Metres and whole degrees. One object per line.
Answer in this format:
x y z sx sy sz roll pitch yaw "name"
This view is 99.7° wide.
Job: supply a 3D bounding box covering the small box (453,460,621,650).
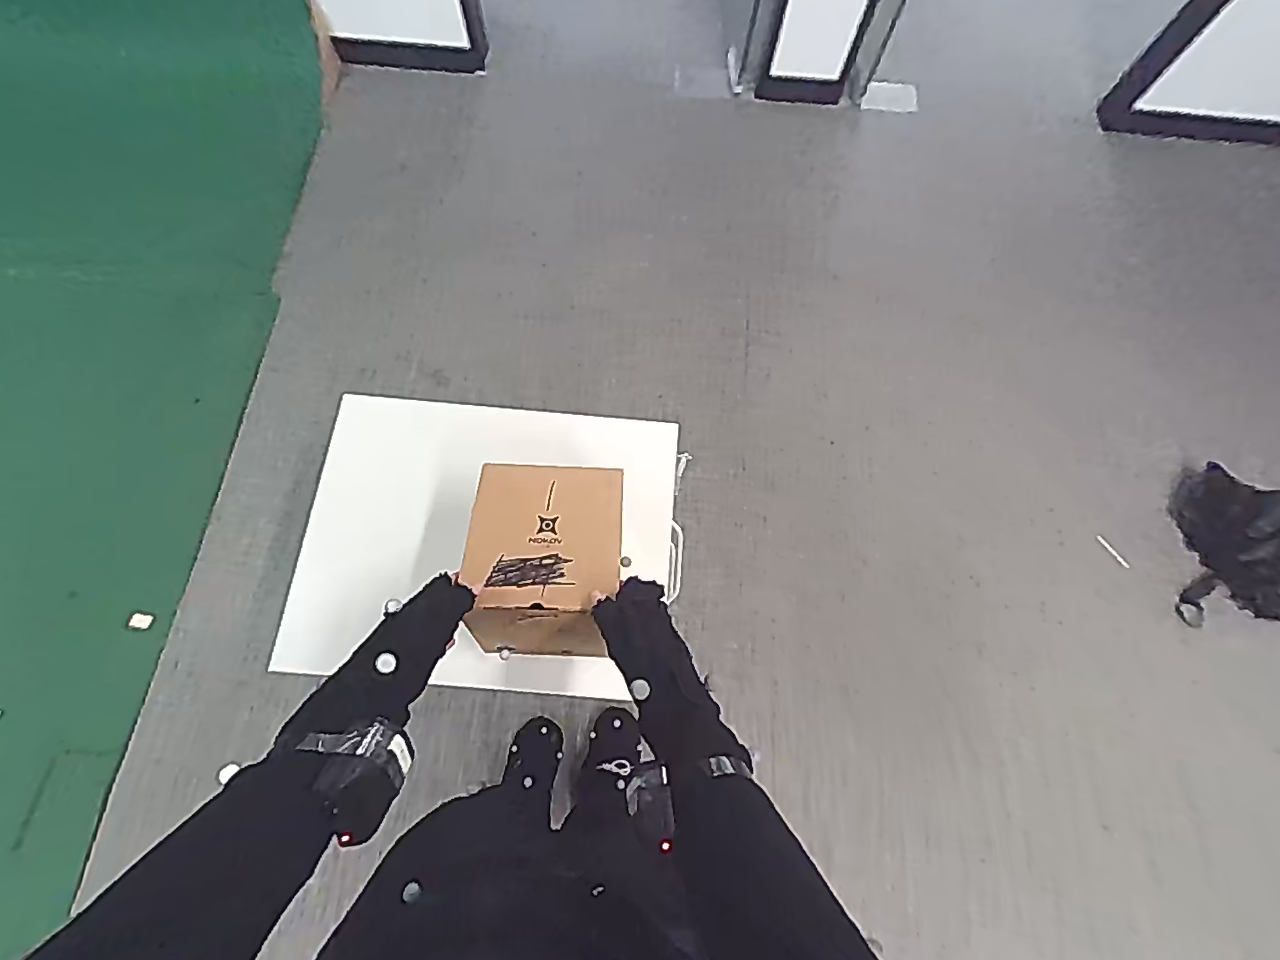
-0.108 0.096 0.654 0.168 0.176 0.179 2 54 -2 "small box"
